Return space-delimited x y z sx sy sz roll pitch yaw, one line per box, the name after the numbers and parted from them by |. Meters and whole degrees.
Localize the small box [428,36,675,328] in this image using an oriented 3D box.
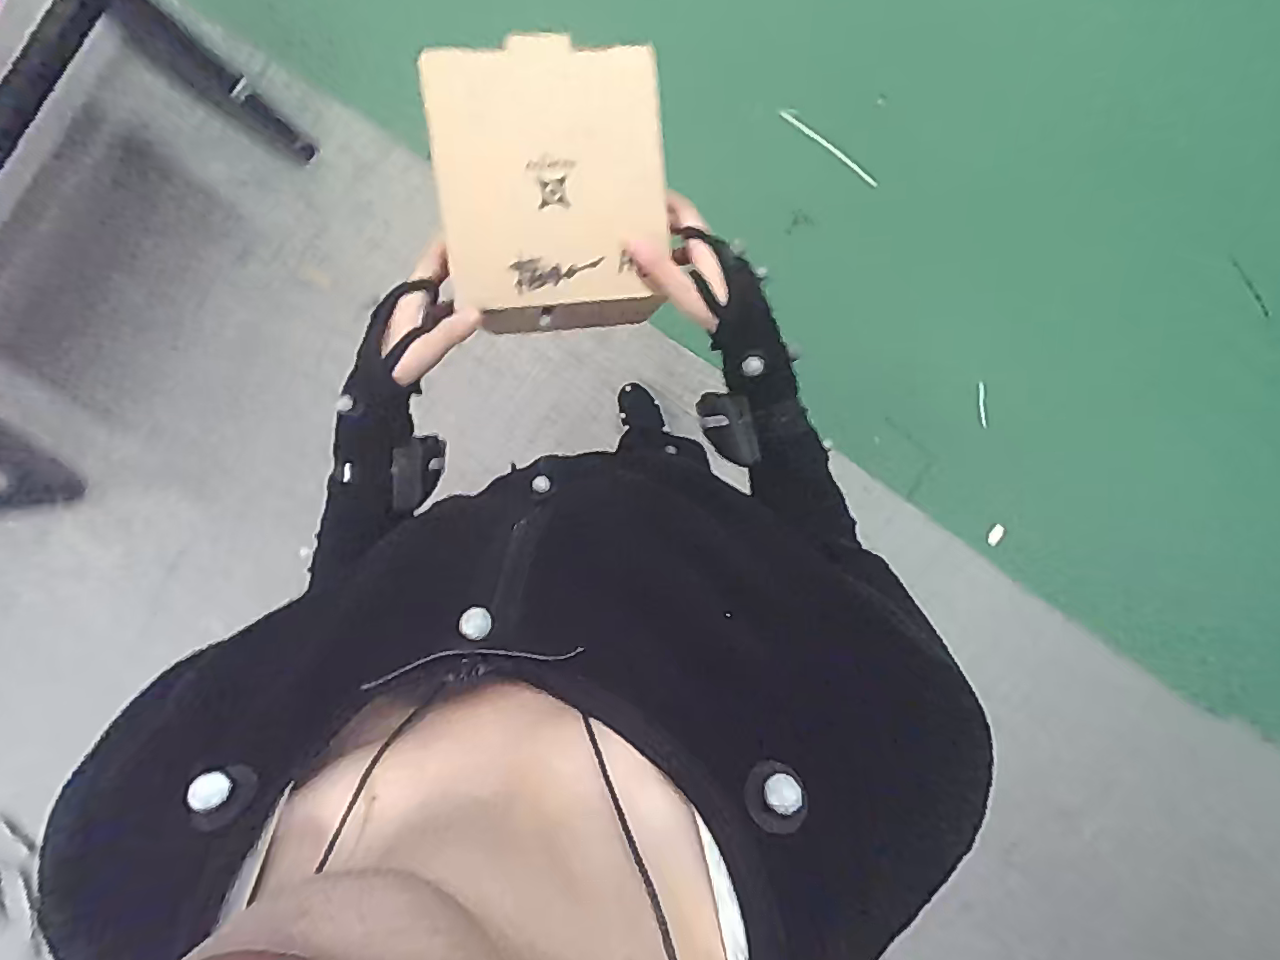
-0.070 -0.238 0.473 0.168 0.176 0.179 -7 100 -6 | small box
